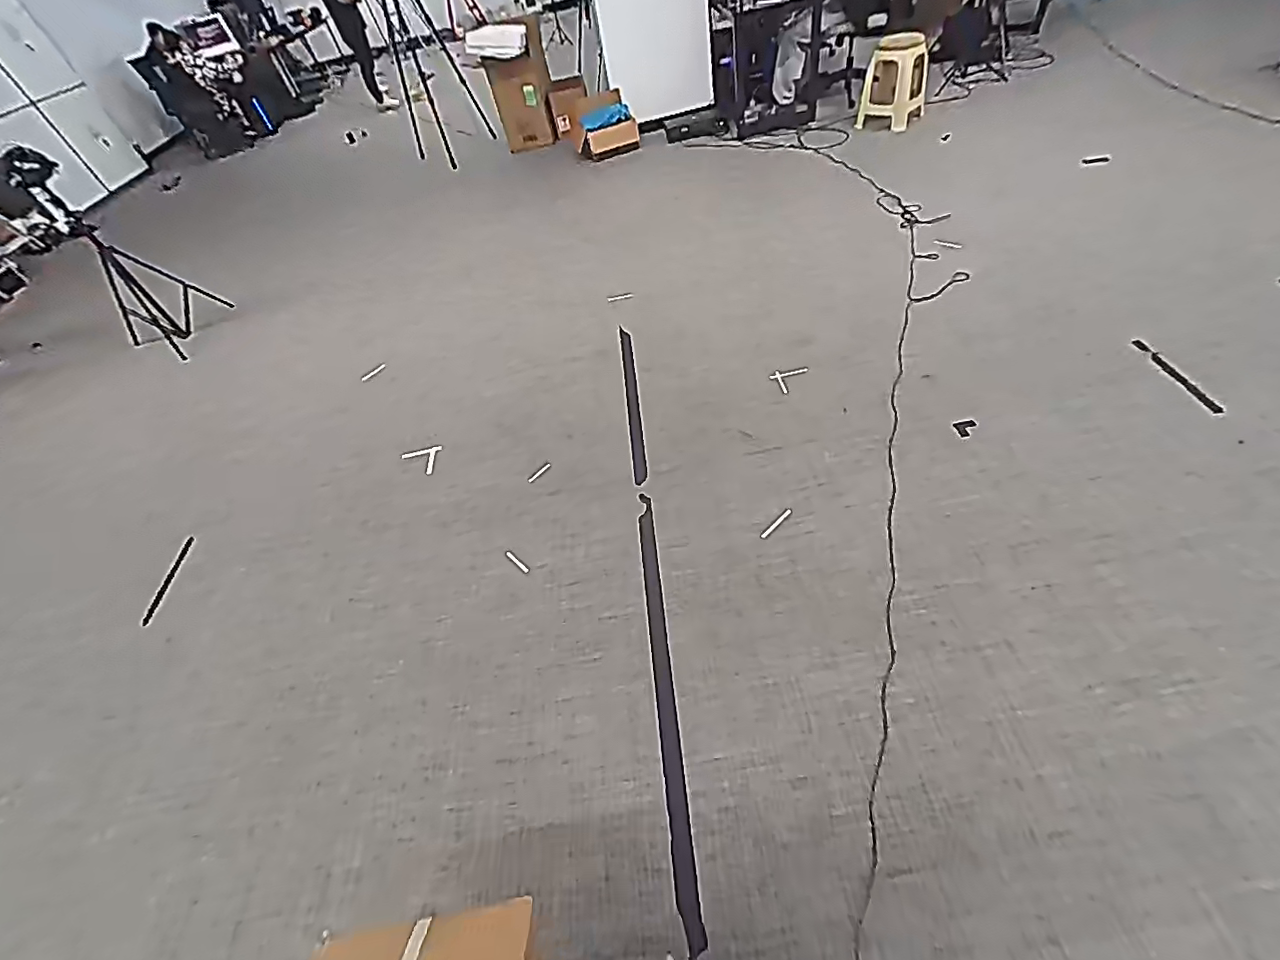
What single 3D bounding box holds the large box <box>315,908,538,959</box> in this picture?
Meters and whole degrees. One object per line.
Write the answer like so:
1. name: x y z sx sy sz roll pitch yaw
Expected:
1. large box: -0.269 0.797 0.587 0.320 0.408 0.320 -7 89 -5
